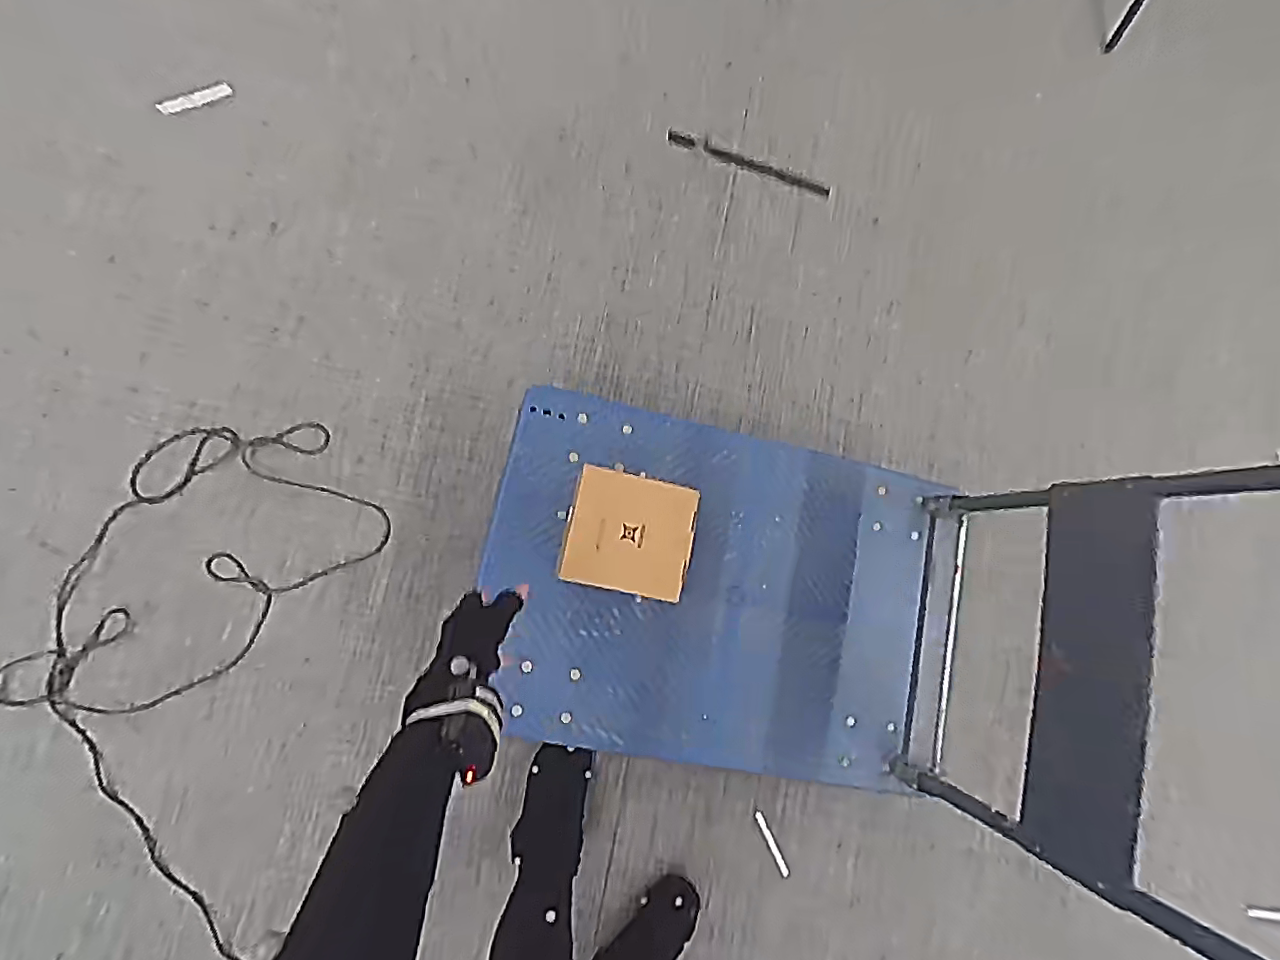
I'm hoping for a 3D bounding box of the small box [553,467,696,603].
[{"bbox_3d":[-0.031,0.086,0.843,0.179,0.176,0.168,13,81,-8],"label":"small box"}]
